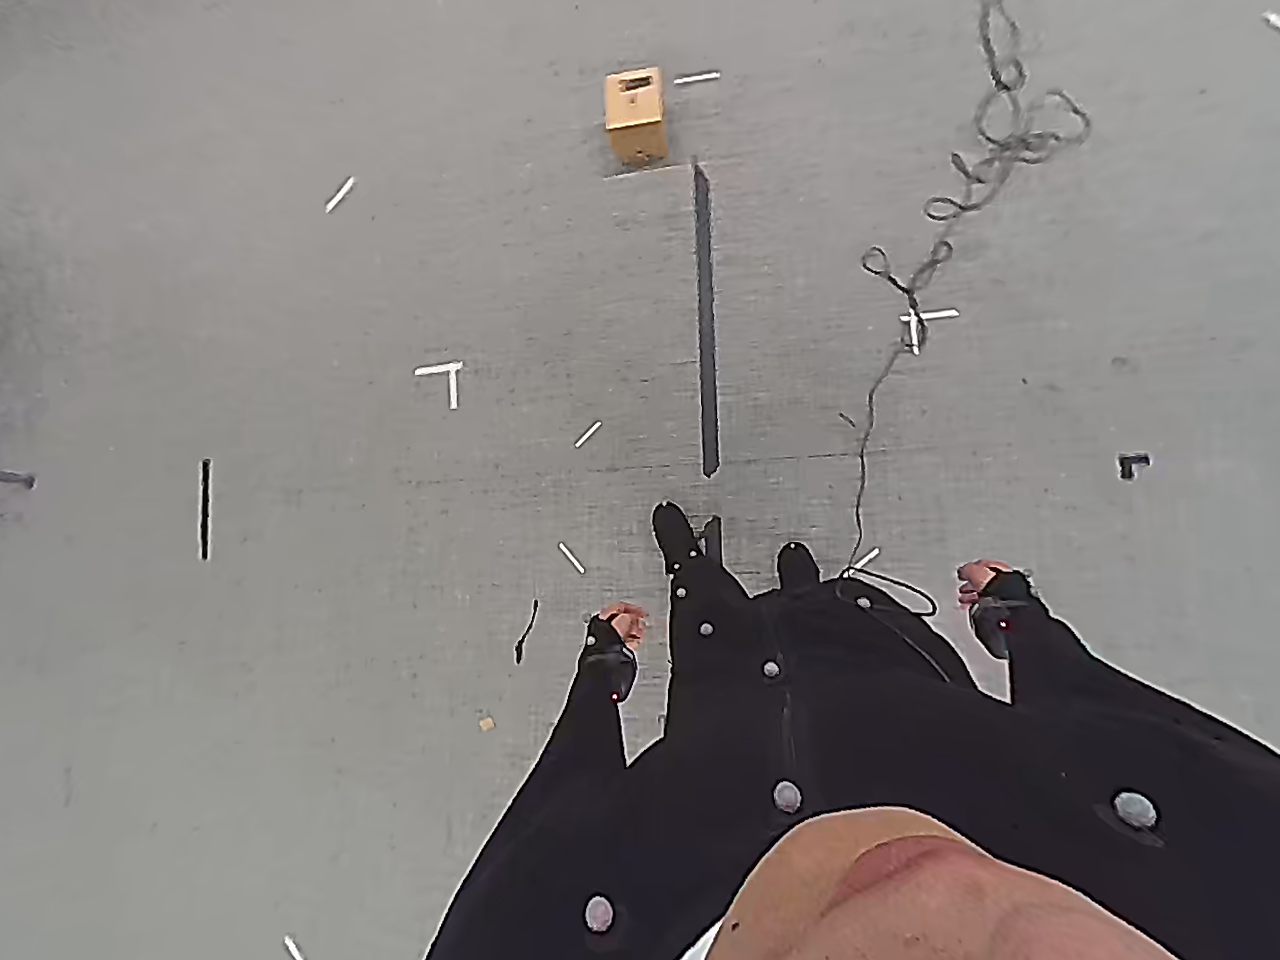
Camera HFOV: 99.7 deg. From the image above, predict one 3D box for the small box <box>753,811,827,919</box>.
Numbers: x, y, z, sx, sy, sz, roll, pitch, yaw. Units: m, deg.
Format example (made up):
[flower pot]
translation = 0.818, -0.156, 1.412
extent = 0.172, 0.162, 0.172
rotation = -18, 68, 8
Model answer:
[small box]
translation = 0.390, 1.010, 1.429
extent = 0.168, 0.176, 0.179
rotation = -6, 83, 9
